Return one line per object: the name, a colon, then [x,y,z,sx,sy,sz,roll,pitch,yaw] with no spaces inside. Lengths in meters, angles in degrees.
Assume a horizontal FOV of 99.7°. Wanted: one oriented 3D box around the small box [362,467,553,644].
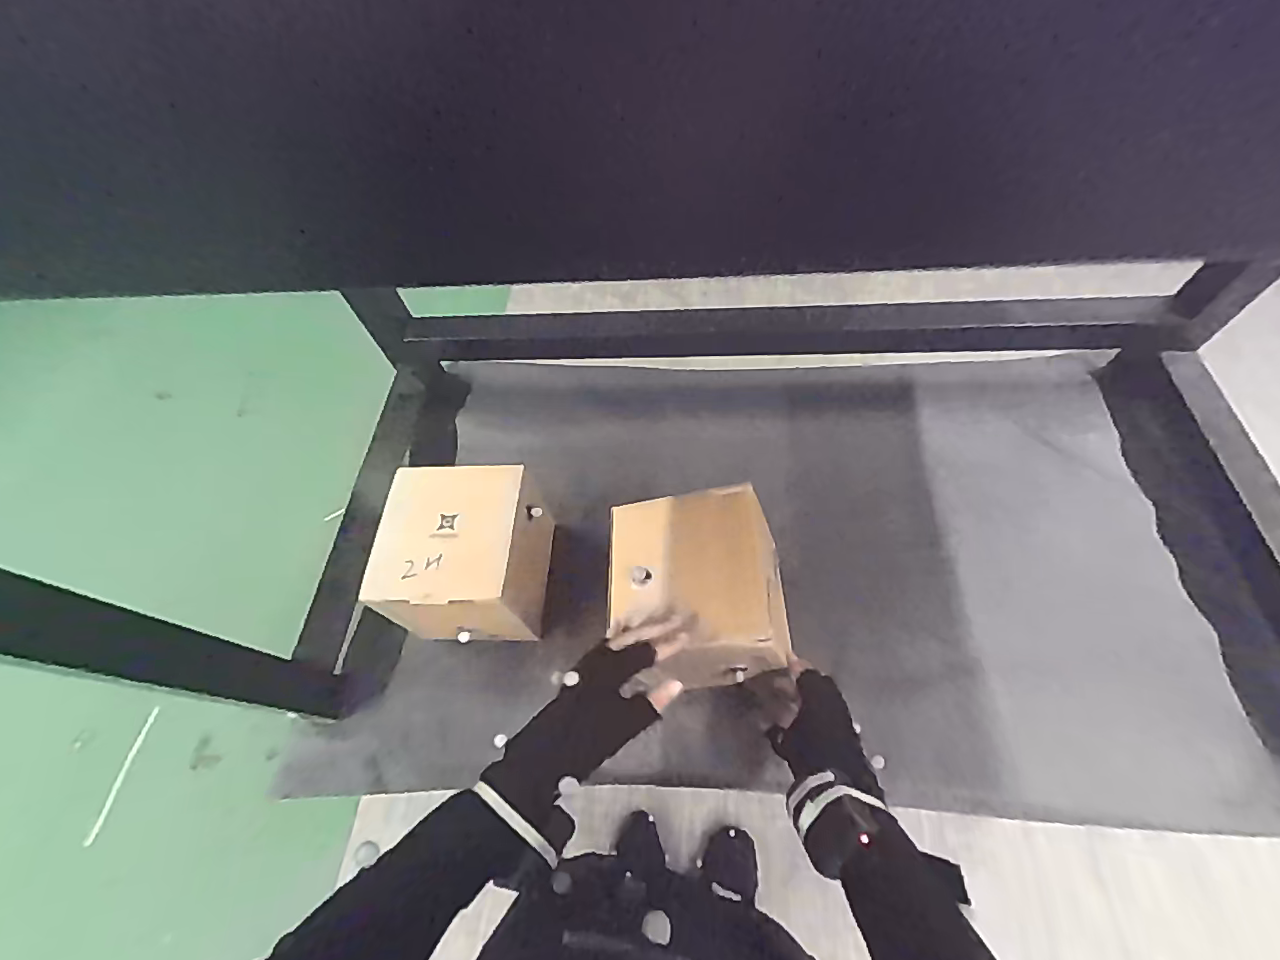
small box: [-0.216,0.100,0.697,0.168,0.176,0.179,-2,59,6]
